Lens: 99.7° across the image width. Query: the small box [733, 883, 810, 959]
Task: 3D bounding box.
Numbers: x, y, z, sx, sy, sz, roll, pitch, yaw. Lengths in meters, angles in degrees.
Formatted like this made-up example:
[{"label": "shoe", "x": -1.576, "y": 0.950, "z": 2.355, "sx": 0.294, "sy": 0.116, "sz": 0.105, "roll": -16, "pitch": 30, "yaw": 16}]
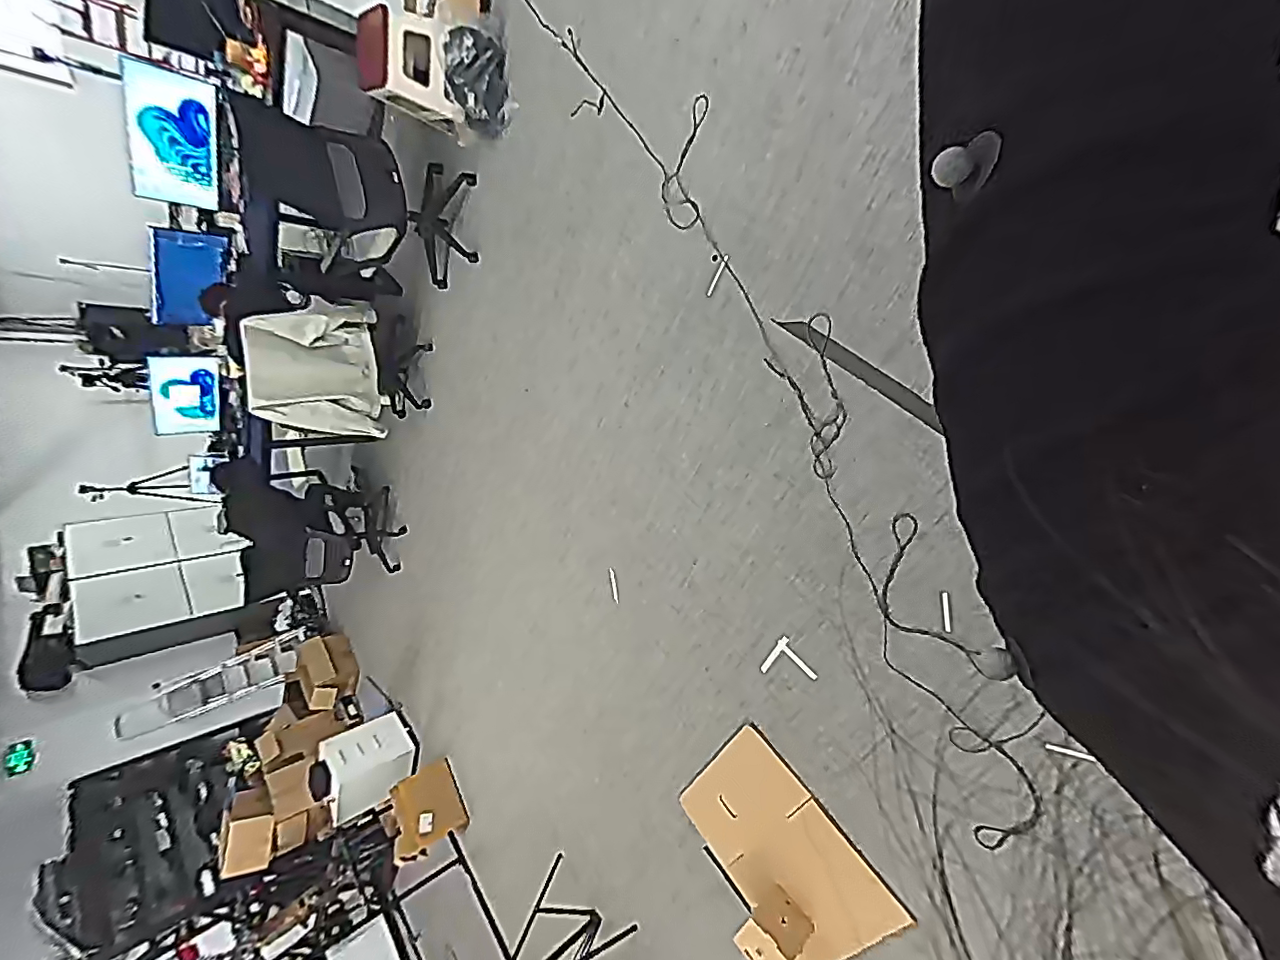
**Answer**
[{"label": "small box", "x": 0.455, "y": 1.542, "z": 1.853, "sx": 0.168, "sy": 0.176, "sz": 0.179, "roll": 39, "pitch": 122, "yaw": 33}]
